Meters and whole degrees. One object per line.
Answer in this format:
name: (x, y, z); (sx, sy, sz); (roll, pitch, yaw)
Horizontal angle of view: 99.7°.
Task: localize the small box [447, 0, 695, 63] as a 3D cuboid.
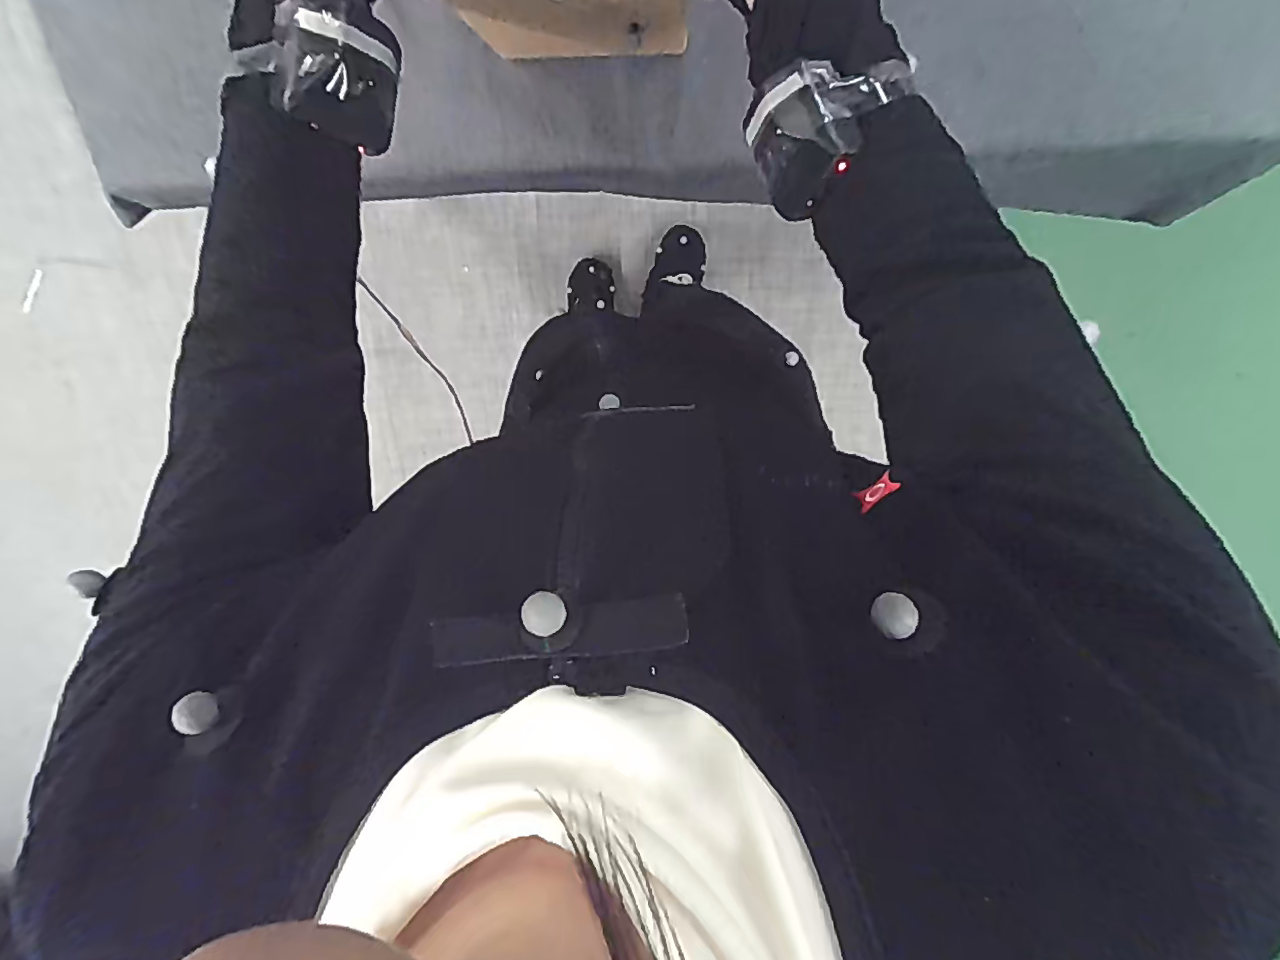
small box: (-0.046, -0.438, 0.407); (0.179, 0.176, 0.168); (0, 115, 4)
